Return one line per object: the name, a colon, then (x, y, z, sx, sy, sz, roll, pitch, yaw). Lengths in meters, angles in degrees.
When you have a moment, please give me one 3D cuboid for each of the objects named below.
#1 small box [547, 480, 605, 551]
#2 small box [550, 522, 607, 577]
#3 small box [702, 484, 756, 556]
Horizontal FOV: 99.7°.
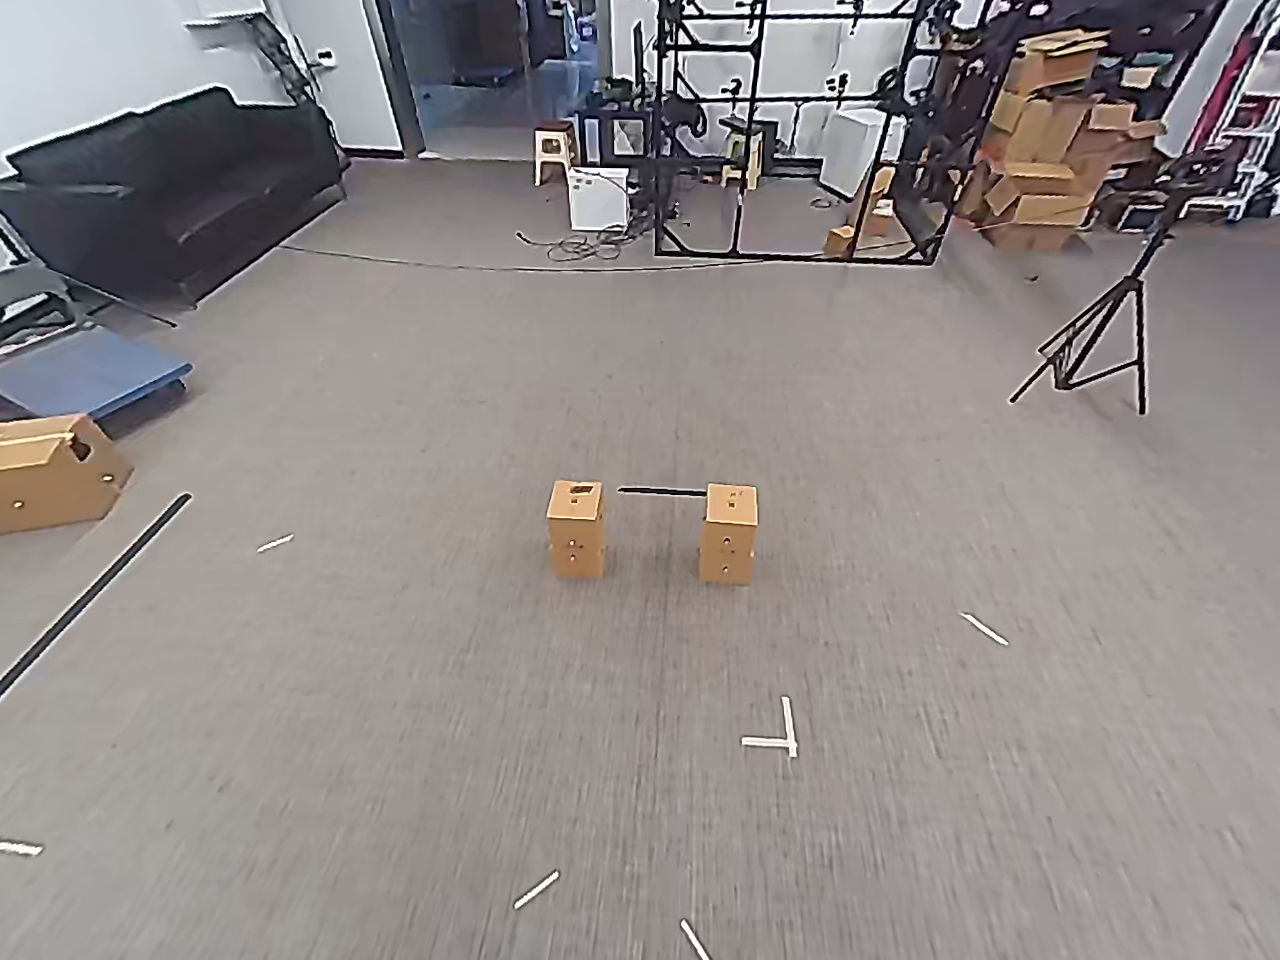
small box: (-0.214, 0.124, 1.870, 0.168, 0.176, 0.179, 3, 46, 4)
small box: (-0.219, 0.242, 1.984, 0.179, 0.176, 0.168, 2, 45, 4)
small box: (0.303, 0.140, 1.850, 0.168, 0.176, 0.179, 5, 45, 5)
